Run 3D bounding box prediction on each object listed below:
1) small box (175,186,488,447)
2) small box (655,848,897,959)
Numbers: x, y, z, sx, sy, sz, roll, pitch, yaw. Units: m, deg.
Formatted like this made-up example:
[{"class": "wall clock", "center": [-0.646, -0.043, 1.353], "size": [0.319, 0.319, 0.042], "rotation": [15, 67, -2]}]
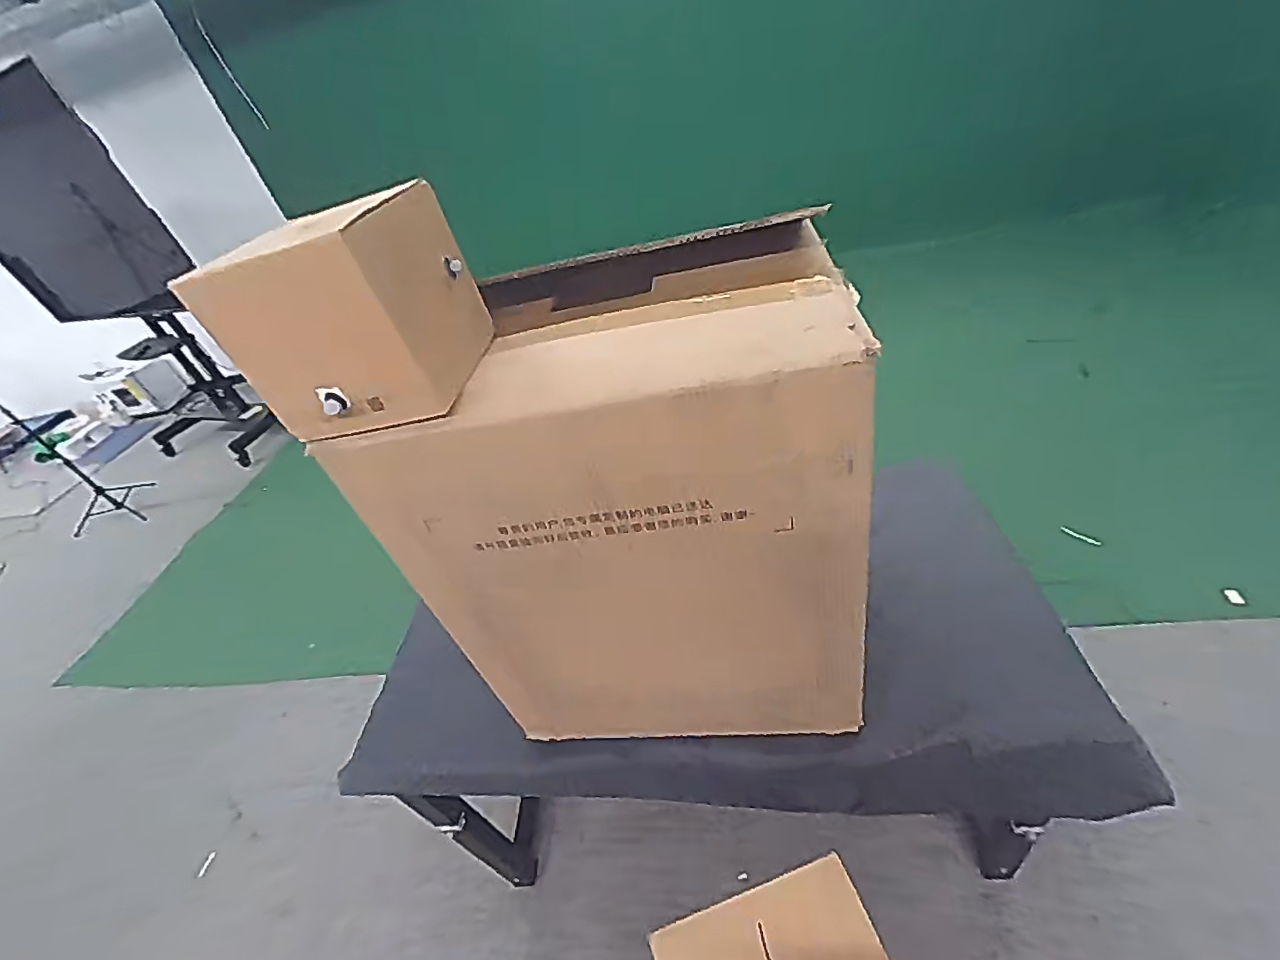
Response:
[{"class": "small box", "center": [-0.269, -0.157, 0.527], "size": [0.168, 0.176, 0.179], "rotation": [-11, 39, 12]}, {"class": "small box", "center": [0.125, 0.433, 0.432], "size": [0.168, 0.176, 0.179], "rotation": [-19, 48, -7]}]
